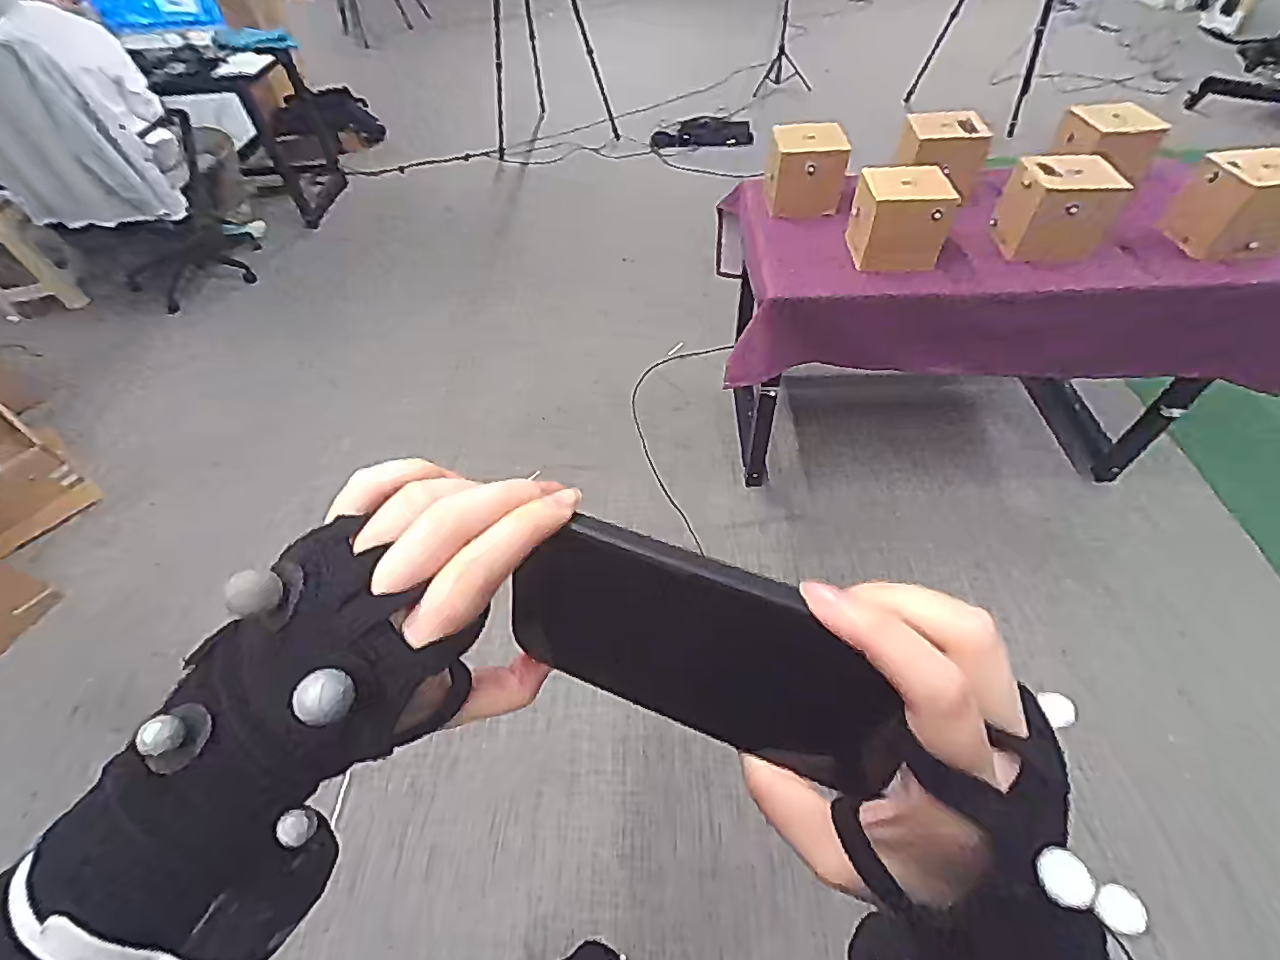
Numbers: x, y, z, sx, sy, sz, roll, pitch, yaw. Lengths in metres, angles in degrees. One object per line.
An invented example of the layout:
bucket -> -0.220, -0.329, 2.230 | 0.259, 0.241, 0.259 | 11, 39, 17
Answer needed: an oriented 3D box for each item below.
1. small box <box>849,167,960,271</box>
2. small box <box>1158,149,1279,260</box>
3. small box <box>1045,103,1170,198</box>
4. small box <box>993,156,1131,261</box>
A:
small box -> 0.598, -0.604, 1.257 | 0.179, 0.176, 0.168 | 1, 52, 4
small box -> 1.339, -0.611, 1.205 | 0.179, 0.176, 0.168 | -2, 51, 3
small box -> 1.187, -0.850, 1.404 | 0.168, 0.176, 0.179 | -3, 52, 2
small box -> 0.950, -0.621, 1.244 | 0.179, 0.176, 0.168 | 2, 52, 5
